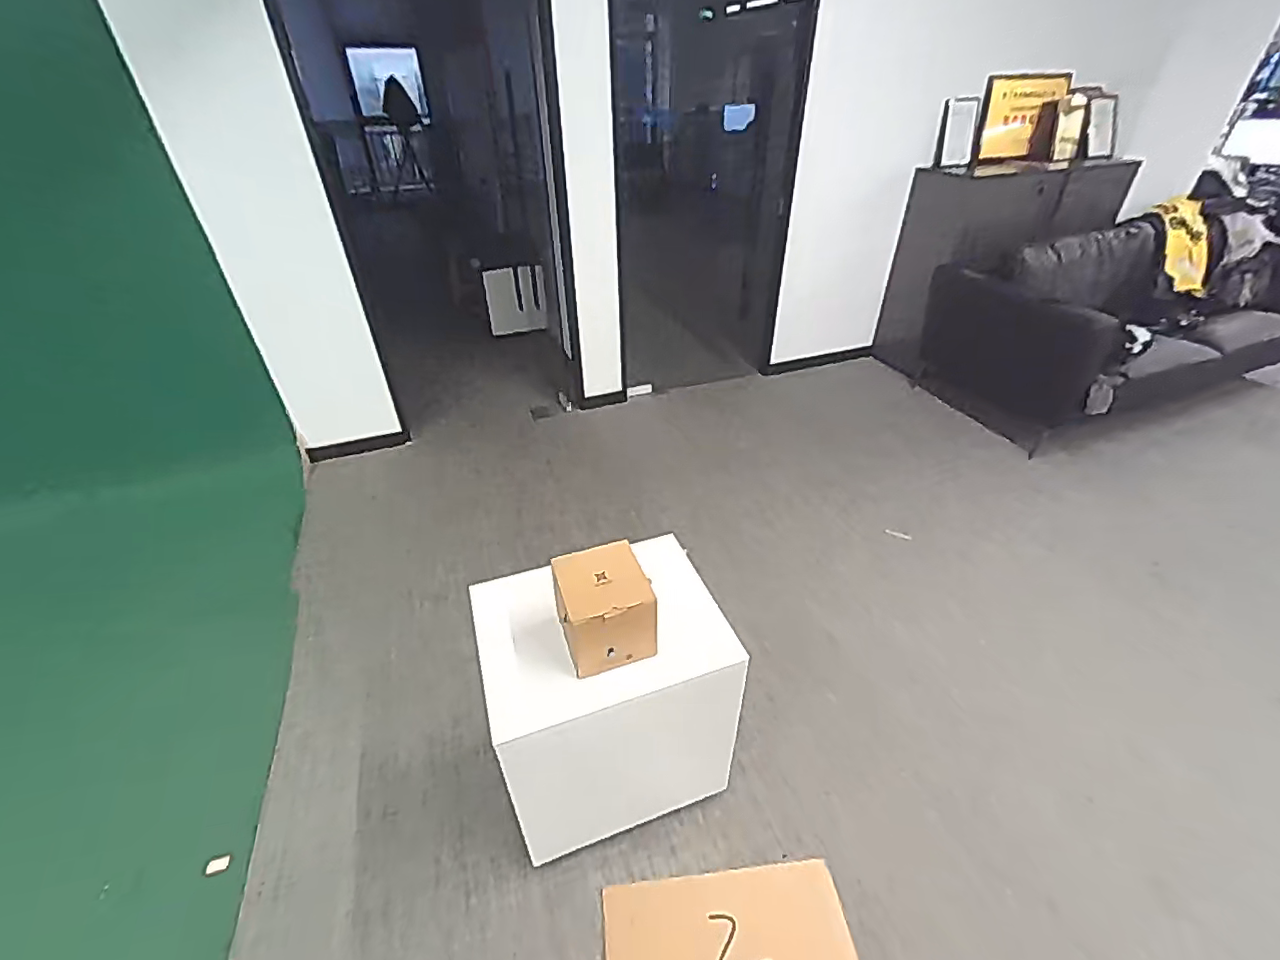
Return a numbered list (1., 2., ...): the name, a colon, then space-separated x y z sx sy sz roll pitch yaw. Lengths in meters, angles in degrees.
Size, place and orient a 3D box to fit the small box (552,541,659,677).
1. small box: -0.071 0.252 1.070 0.168 0.176 0.179 -13 37 -16
